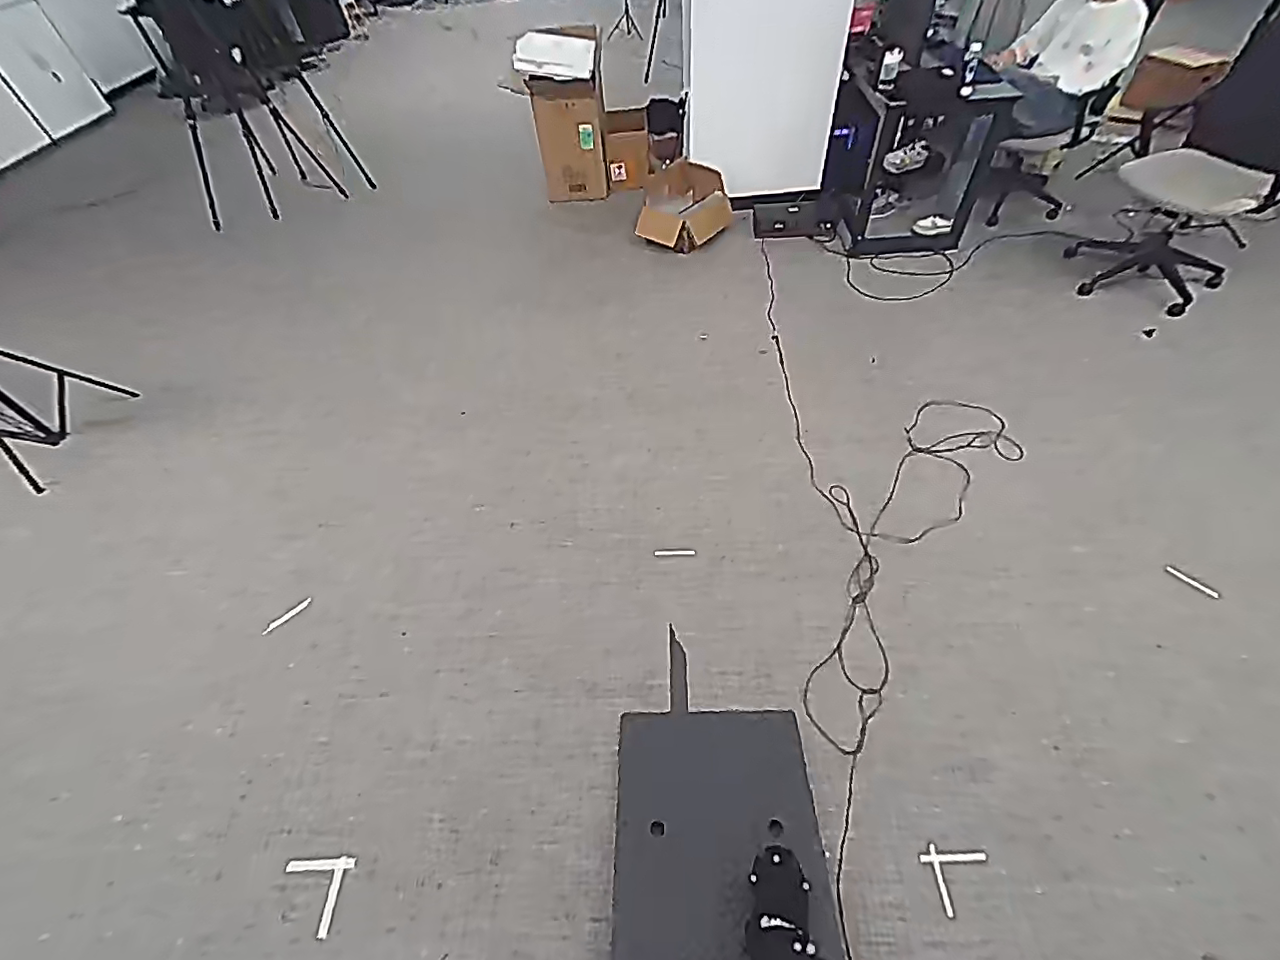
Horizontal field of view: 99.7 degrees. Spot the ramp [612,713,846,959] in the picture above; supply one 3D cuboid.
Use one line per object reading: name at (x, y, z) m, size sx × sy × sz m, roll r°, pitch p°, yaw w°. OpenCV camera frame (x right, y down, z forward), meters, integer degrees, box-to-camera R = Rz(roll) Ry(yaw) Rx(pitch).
ramp at (0.182, 0.989, 1.149) m, size 0.509 × 0.206 × 0.991 m, roll -5°, pitch 50°, yaw 3°
